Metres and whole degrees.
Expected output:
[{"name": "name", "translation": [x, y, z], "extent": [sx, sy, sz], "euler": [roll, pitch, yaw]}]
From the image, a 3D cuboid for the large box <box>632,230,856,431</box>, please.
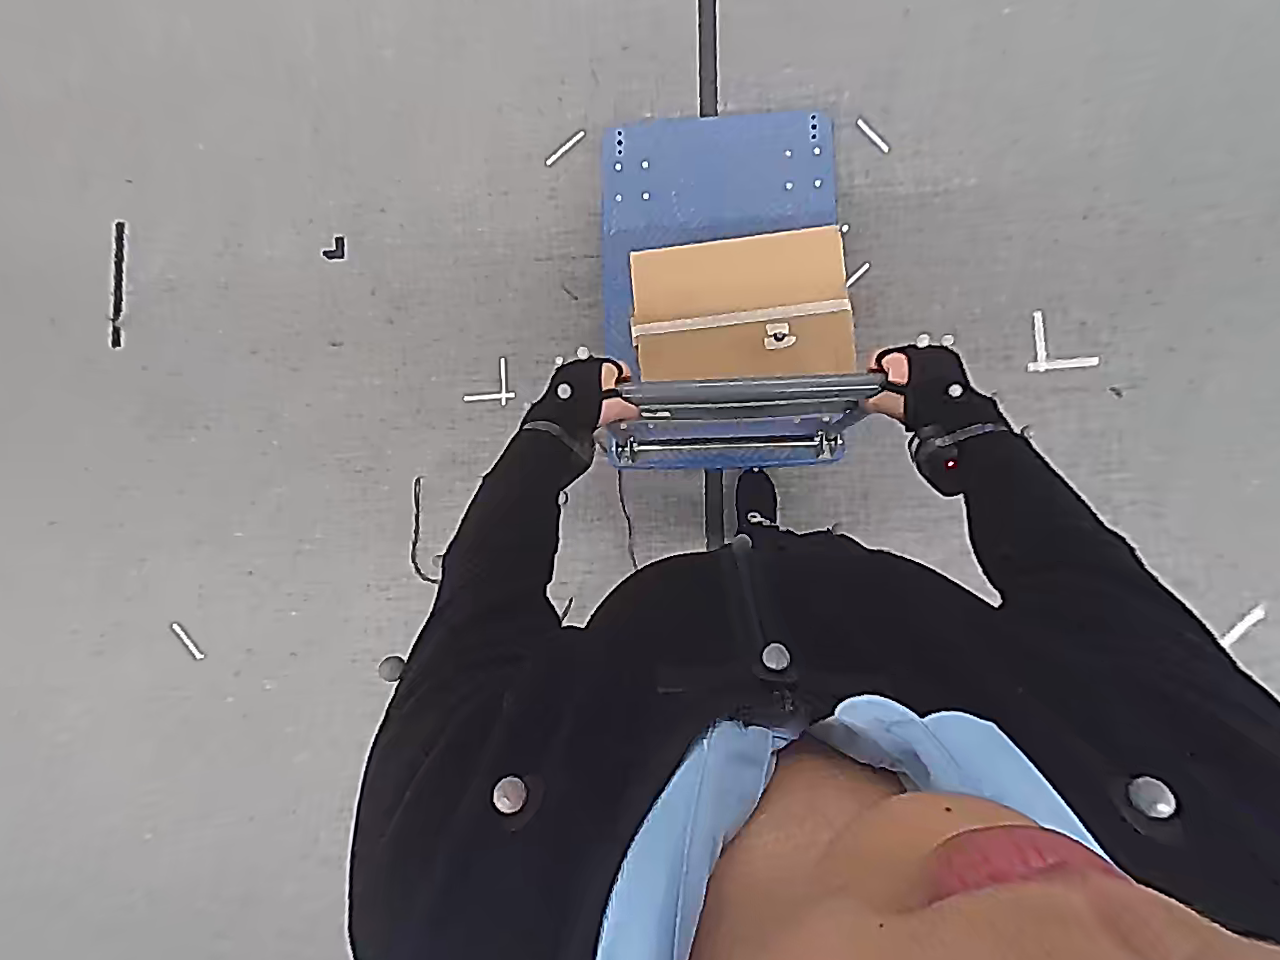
[{"name": "large box", "translation": [0.207, -0.300, 1.189], "extent": [0.408, 0.320, 0.320], "euler": [-6, 88, 5]}]
